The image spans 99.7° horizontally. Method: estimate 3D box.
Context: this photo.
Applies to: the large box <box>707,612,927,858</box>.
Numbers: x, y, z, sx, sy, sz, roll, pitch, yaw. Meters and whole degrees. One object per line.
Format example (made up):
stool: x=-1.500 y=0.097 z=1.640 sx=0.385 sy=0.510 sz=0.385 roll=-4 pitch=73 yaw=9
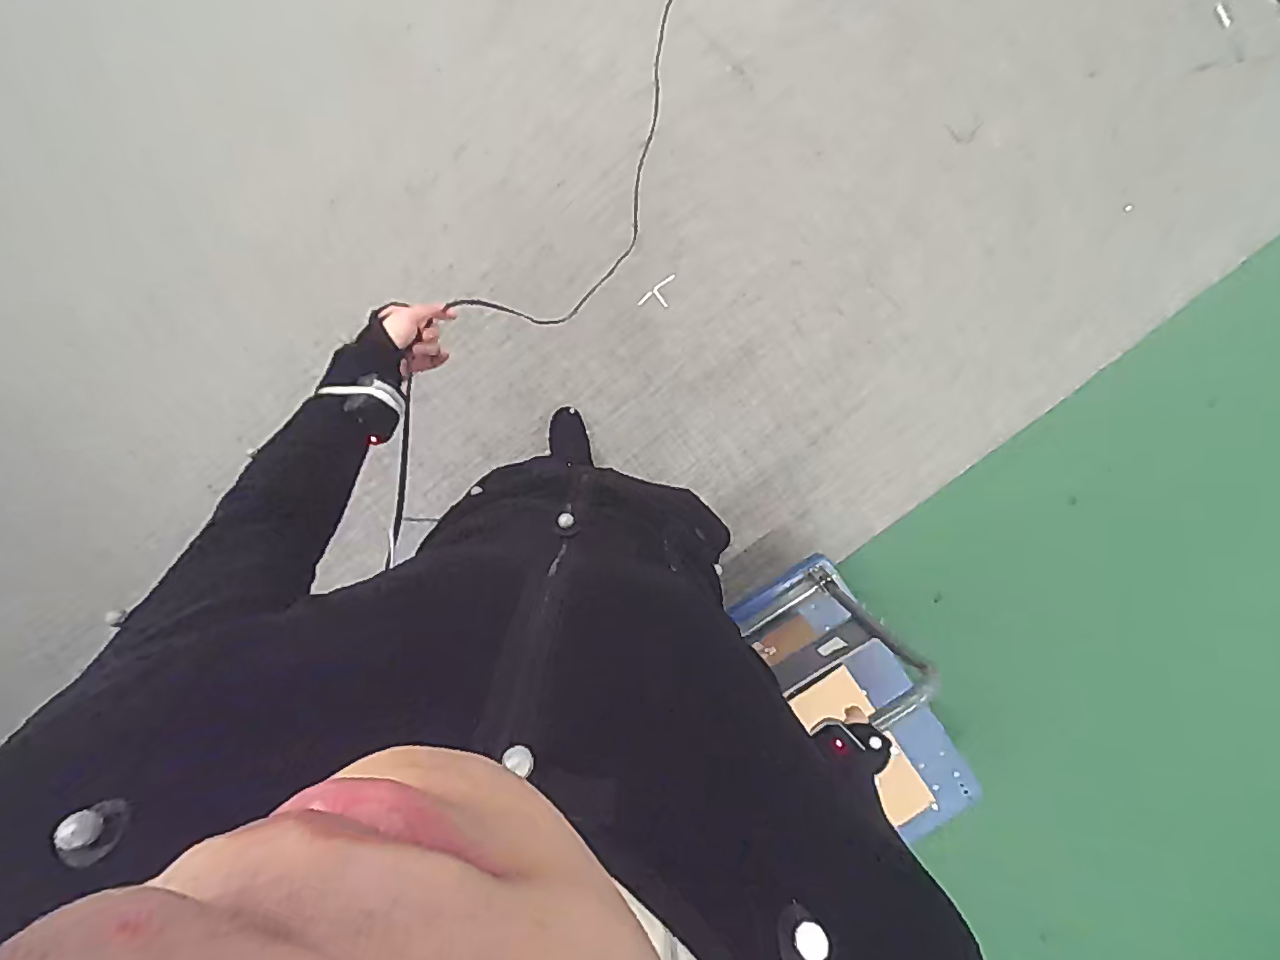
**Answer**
large box: x=0.423 y=0.622 z=1.381 sx=0.320 sy=0.320 sz=0.408 roll=-34 pitch=97 yaw=4
